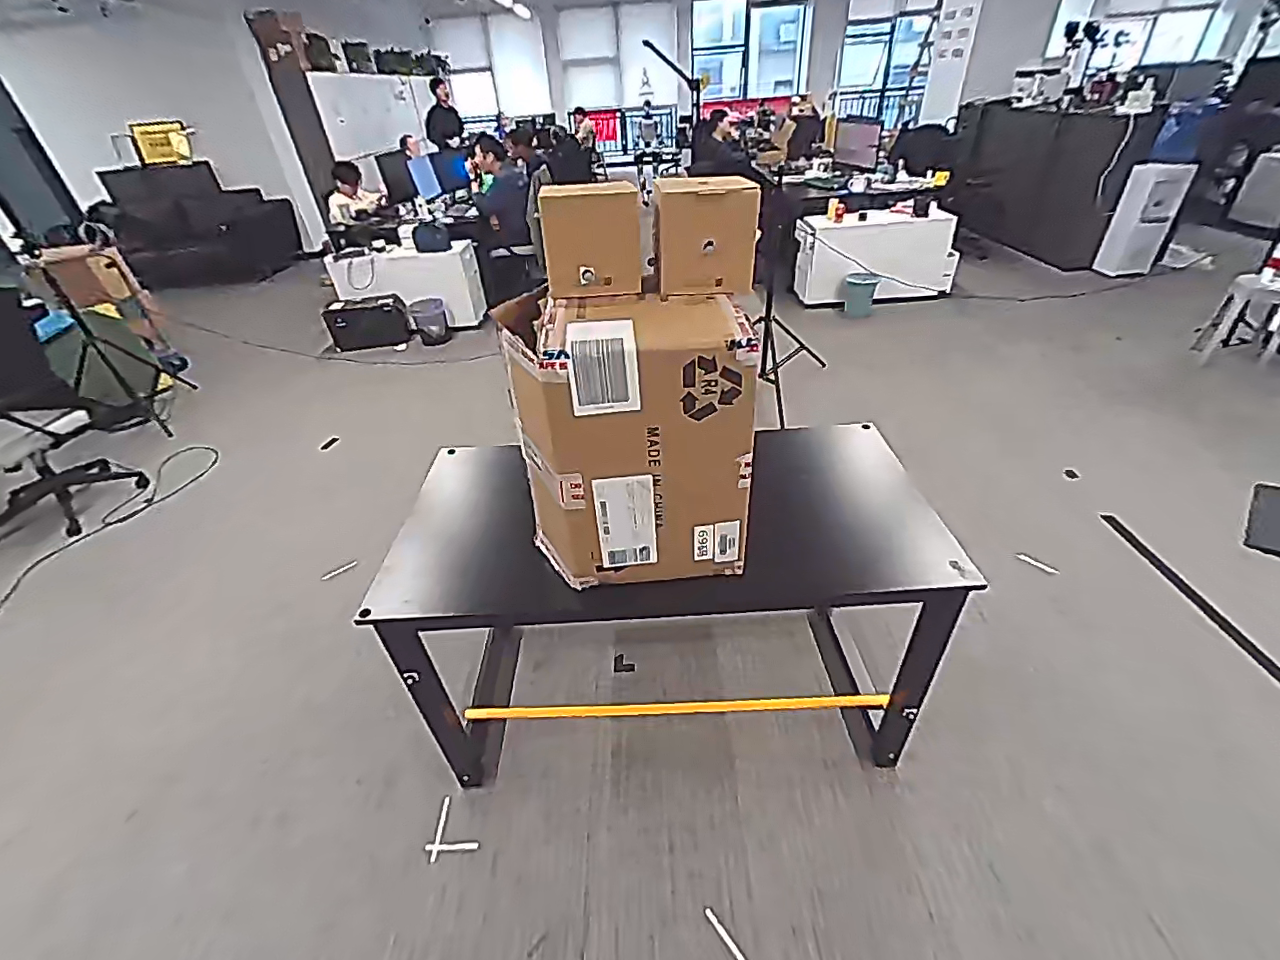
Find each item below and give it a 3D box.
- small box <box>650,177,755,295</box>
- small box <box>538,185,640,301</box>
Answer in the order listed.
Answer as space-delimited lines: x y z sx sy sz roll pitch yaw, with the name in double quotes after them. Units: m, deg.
0.106 -0.446 0.991 0.168 0.176 0.179 -3 36 -3 "small box"
-0.093 -0.439 0.998 0.168 0.176 0.179 -7 34 -5 "small box"
